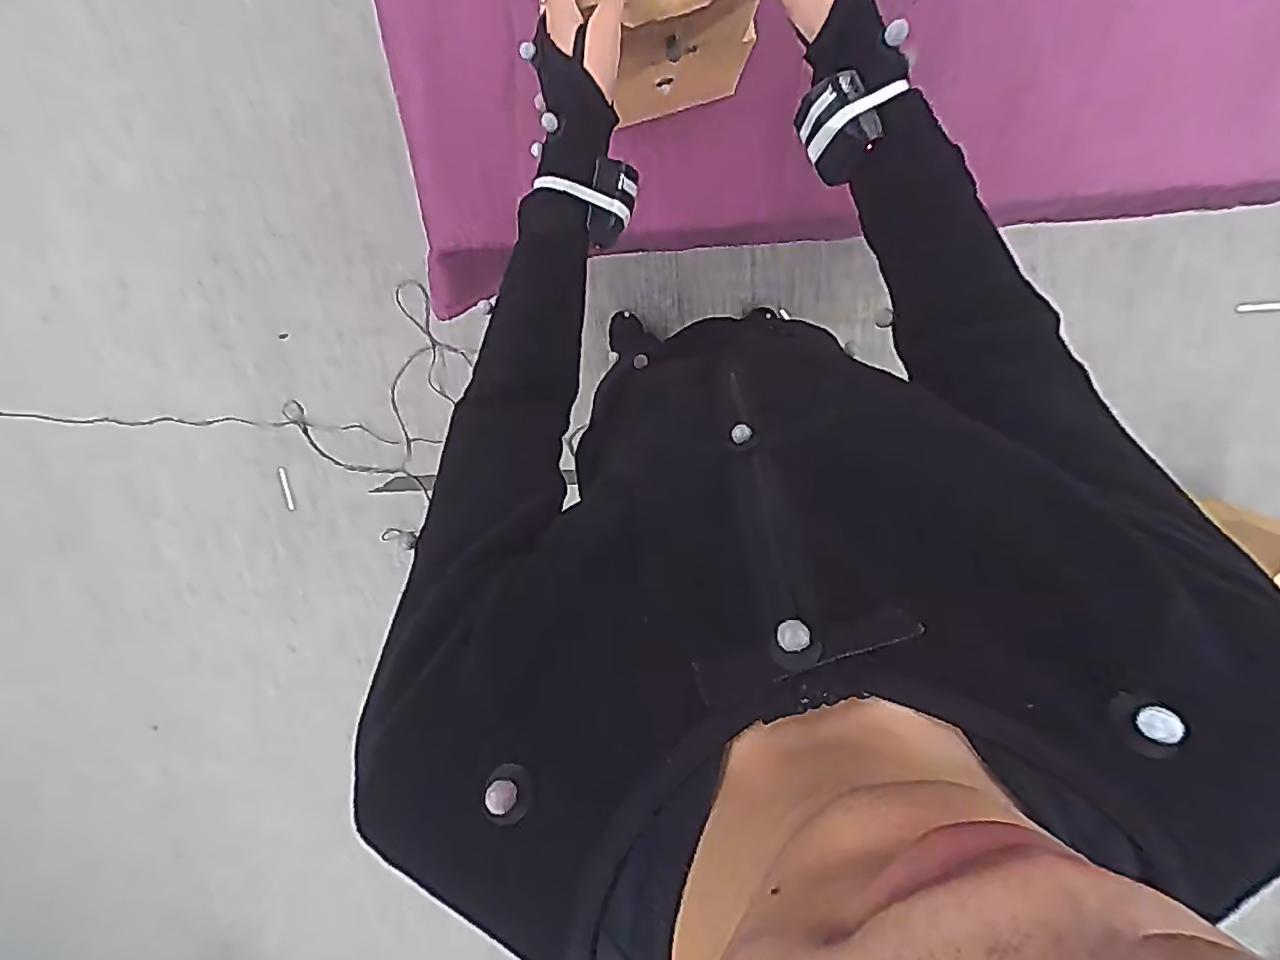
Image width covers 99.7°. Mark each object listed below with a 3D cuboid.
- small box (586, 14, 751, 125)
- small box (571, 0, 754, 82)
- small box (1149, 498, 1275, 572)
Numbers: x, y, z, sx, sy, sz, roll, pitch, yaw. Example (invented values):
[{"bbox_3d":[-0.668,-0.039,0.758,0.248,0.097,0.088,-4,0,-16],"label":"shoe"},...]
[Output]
[{"bbox_3d":[0.018,-0.547,0.632,0.179,0.176,0.168,-13,108,5],"label":"small box"},{"bbox_3d":[0.006,-0.499,0.475,0.168,0.176,0.179,-14,108,6],"label":"small box"},{"bbox_3d":[1.687,0.160,1.609,0.179,0.176,0.168,1,109,1],"label":"small box"}]
